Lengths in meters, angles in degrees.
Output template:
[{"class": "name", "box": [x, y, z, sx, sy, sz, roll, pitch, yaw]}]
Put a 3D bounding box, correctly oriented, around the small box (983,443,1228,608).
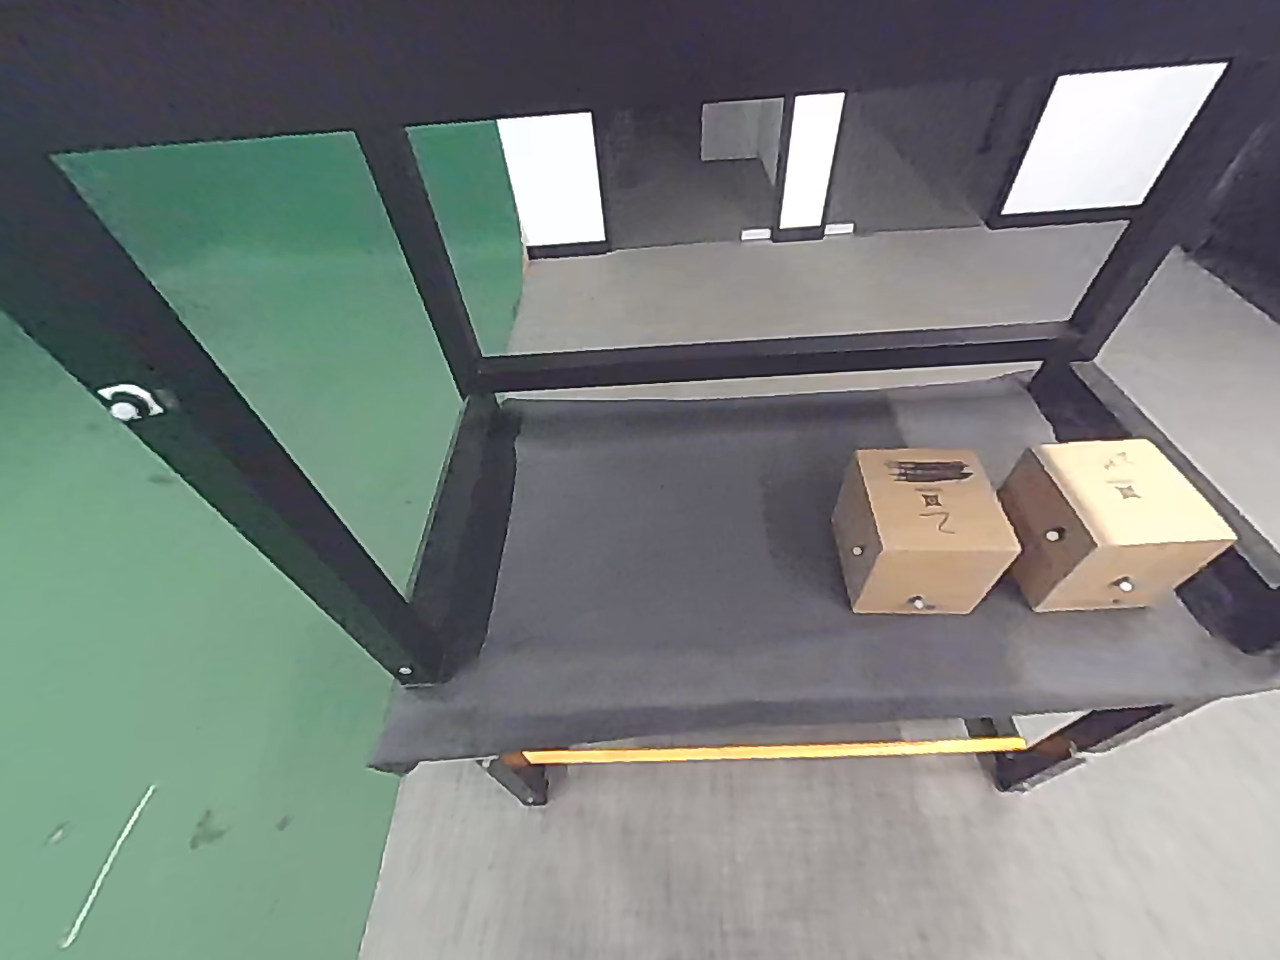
[{"class": "small box", "box": [0.633, 0.070, 0.768, 0.168, 0.176, 0.179, -3, 47, 2]}]
